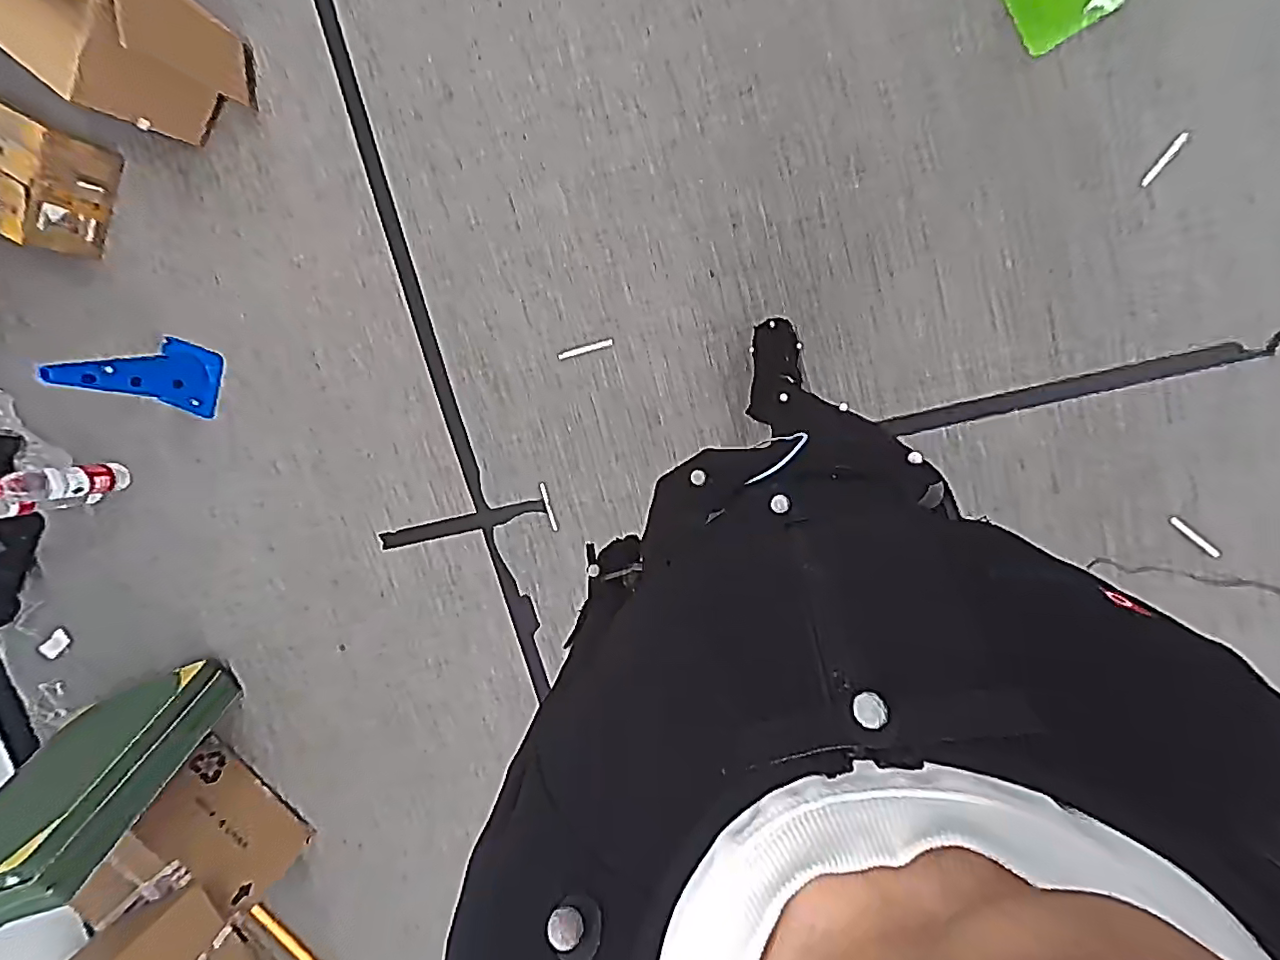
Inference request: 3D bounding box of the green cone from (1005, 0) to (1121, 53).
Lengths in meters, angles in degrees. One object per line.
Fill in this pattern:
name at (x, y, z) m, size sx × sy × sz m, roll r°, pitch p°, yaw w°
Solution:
green cone at (0.867, -1.017, 0.976) m, size 0.202 × 0.368 × 0.200 m, roll -30°, pitch 94°, yaw 11°
